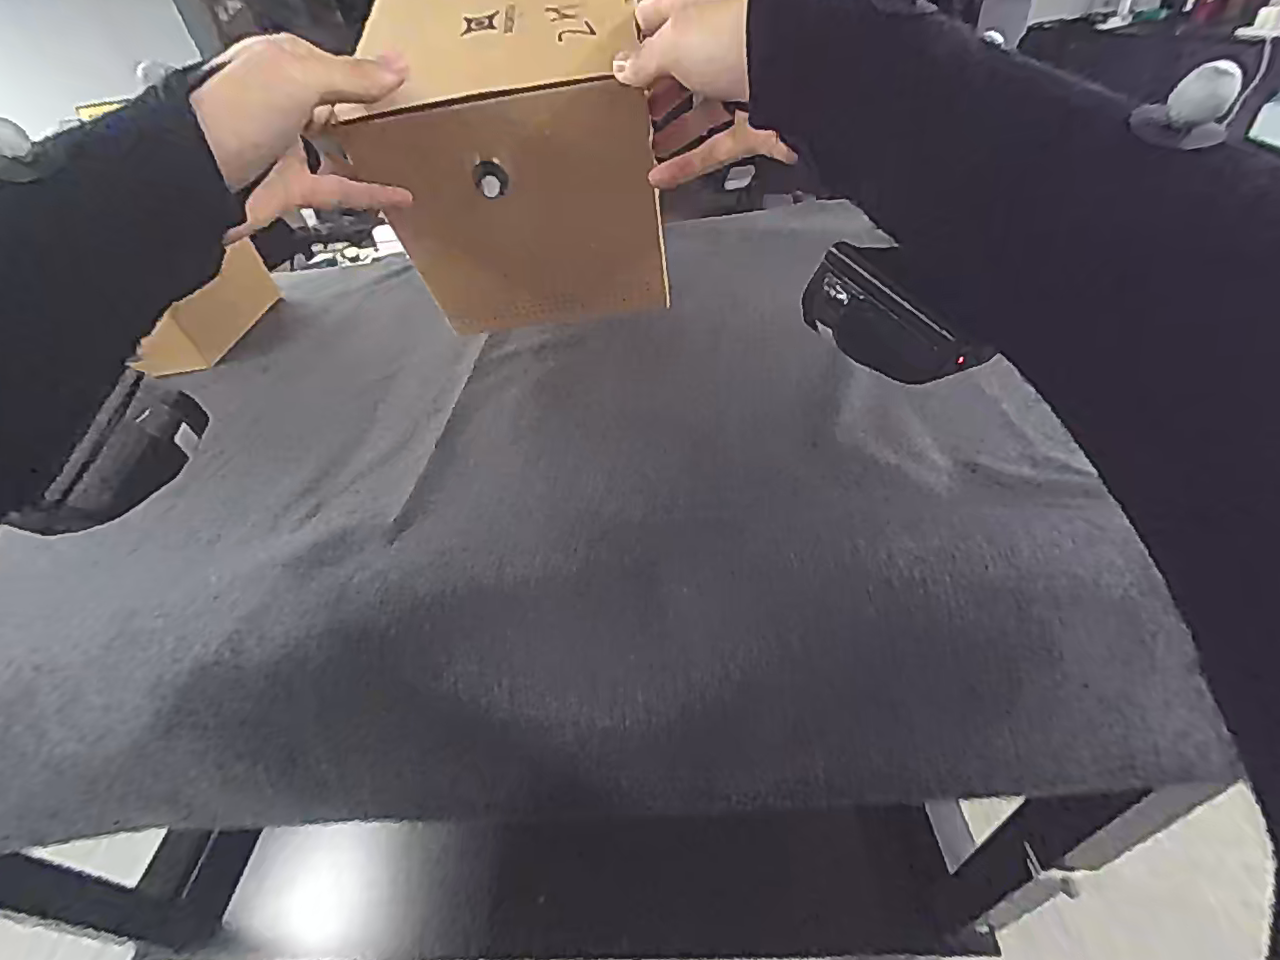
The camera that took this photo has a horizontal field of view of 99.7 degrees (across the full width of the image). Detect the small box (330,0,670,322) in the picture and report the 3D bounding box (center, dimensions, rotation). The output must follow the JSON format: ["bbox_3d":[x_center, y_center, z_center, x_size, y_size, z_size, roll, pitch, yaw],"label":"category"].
[{"bbox_3d":[-0.076,-0.235,0.393,0.179,0.176,0.168,-6,61,5],"label":"small box"}]

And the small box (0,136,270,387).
[{"bbox_3d":[-0.506,-0.212,0.524,0.168,0.176,0.179,-9,41,1],"label":"small box"}]
